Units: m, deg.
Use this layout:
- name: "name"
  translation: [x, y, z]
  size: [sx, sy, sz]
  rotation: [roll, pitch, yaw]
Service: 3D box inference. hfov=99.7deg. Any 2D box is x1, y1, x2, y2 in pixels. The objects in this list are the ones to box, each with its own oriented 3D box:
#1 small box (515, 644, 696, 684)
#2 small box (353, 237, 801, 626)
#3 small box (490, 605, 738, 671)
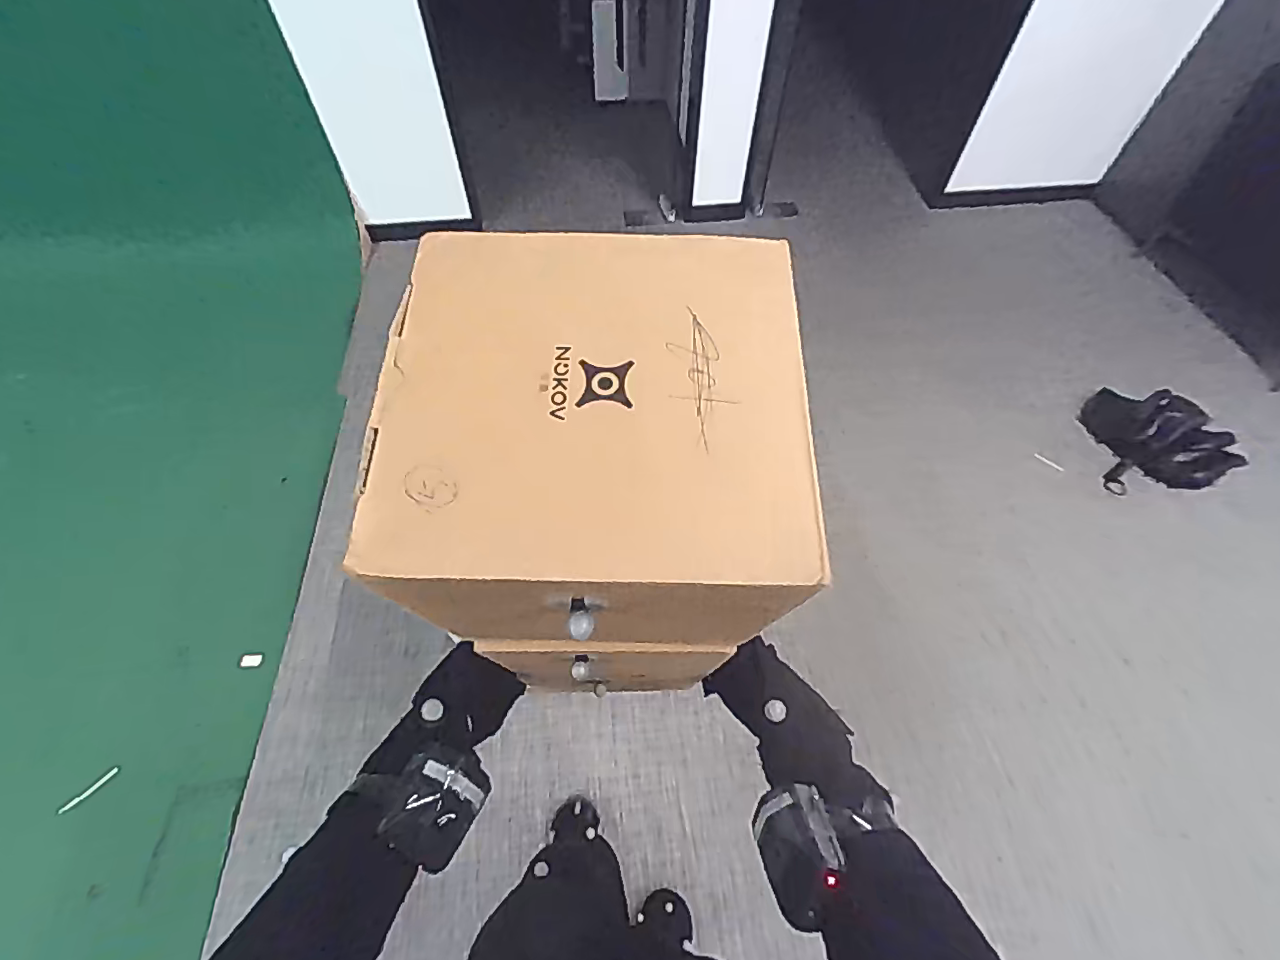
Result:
- name: "small box"
  translation: [-0.030, 0.133, 0.603]
  size: [0.179, 0.176, 0.168]
  rotation: [-1, 65, -1]
- name: "small box"
  translation: [-0.023, -0.012, 0.311]
  size: [0.179, 0.176, 0.168]
  rotation: [1, 67, -1]
- name: "small box"
  translation: [-0.022, 0.060, 0.460]
  size: [0.168, 0.176, 0.179]
  rotation: [-2, 65, -2]
